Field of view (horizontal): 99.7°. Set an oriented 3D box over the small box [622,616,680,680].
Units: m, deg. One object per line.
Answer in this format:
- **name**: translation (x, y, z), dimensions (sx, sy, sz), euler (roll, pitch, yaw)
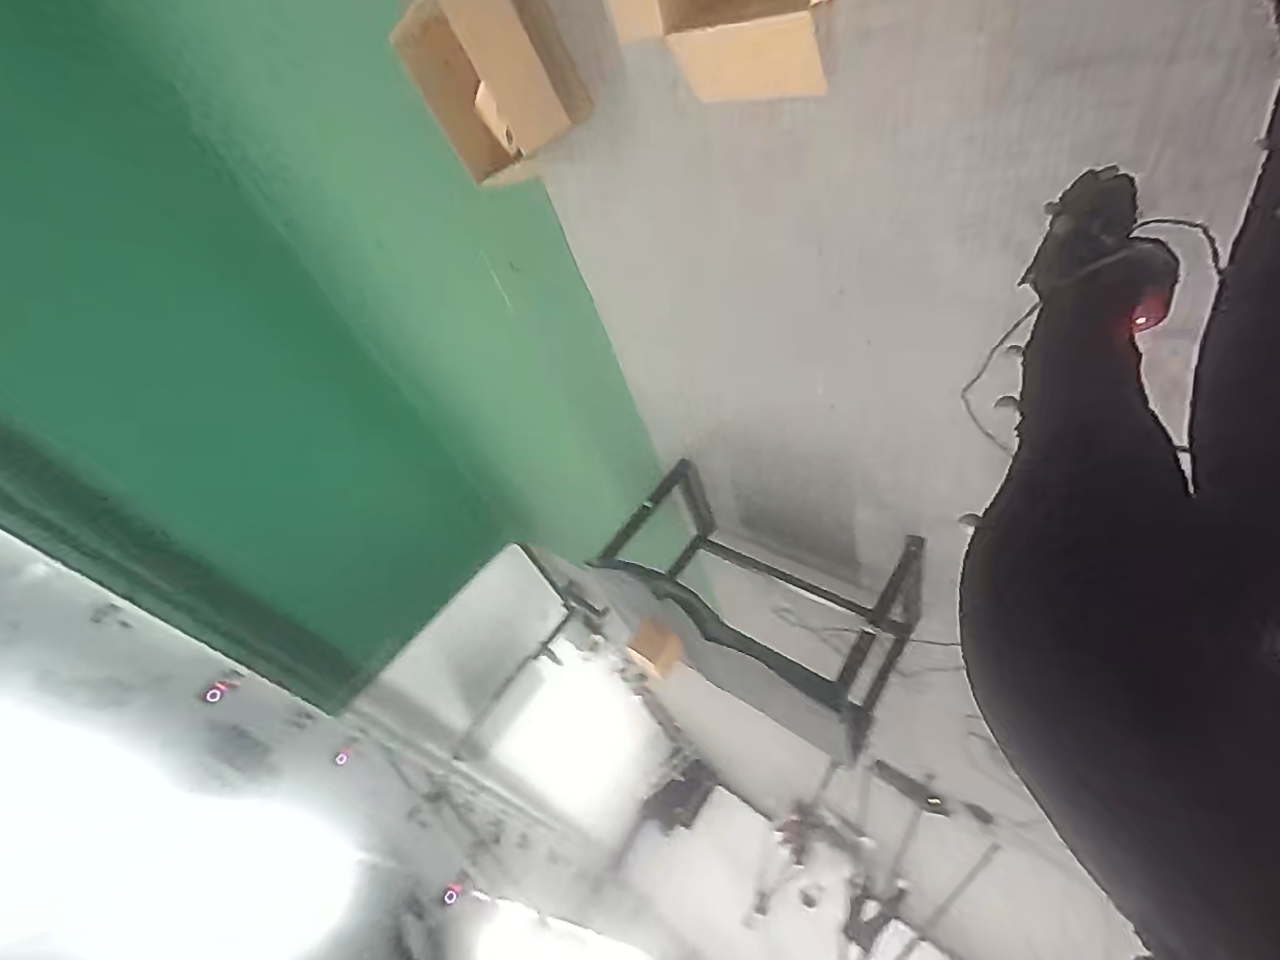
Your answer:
- **small box**: translation (0.056, 0.729, 2.351), dimensions (0.168, 0.176, 0.179), euler (23, 149, 35)
